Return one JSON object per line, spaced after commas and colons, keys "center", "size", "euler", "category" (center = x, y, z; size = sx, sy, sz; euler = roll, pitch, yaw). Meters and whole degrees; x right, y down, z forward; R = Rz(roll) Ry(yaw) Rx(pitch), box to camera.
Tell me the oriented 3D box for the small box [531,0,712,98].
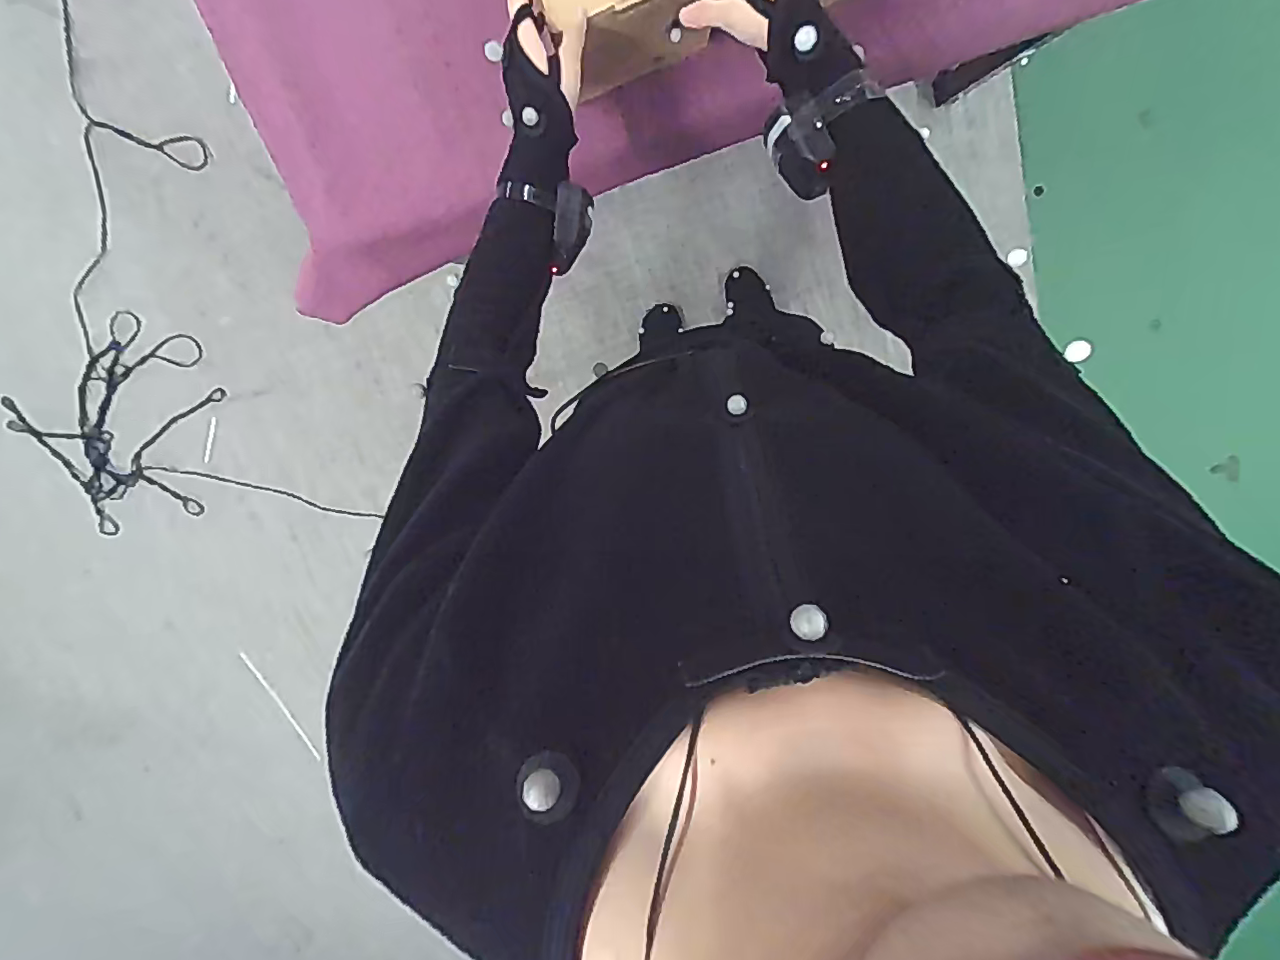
{"center": [-0.031, -0.505, 0.520], "size": [0.168, 0.176, 0.179], "euler": [-19, 106, 7], "category": "small box"}
